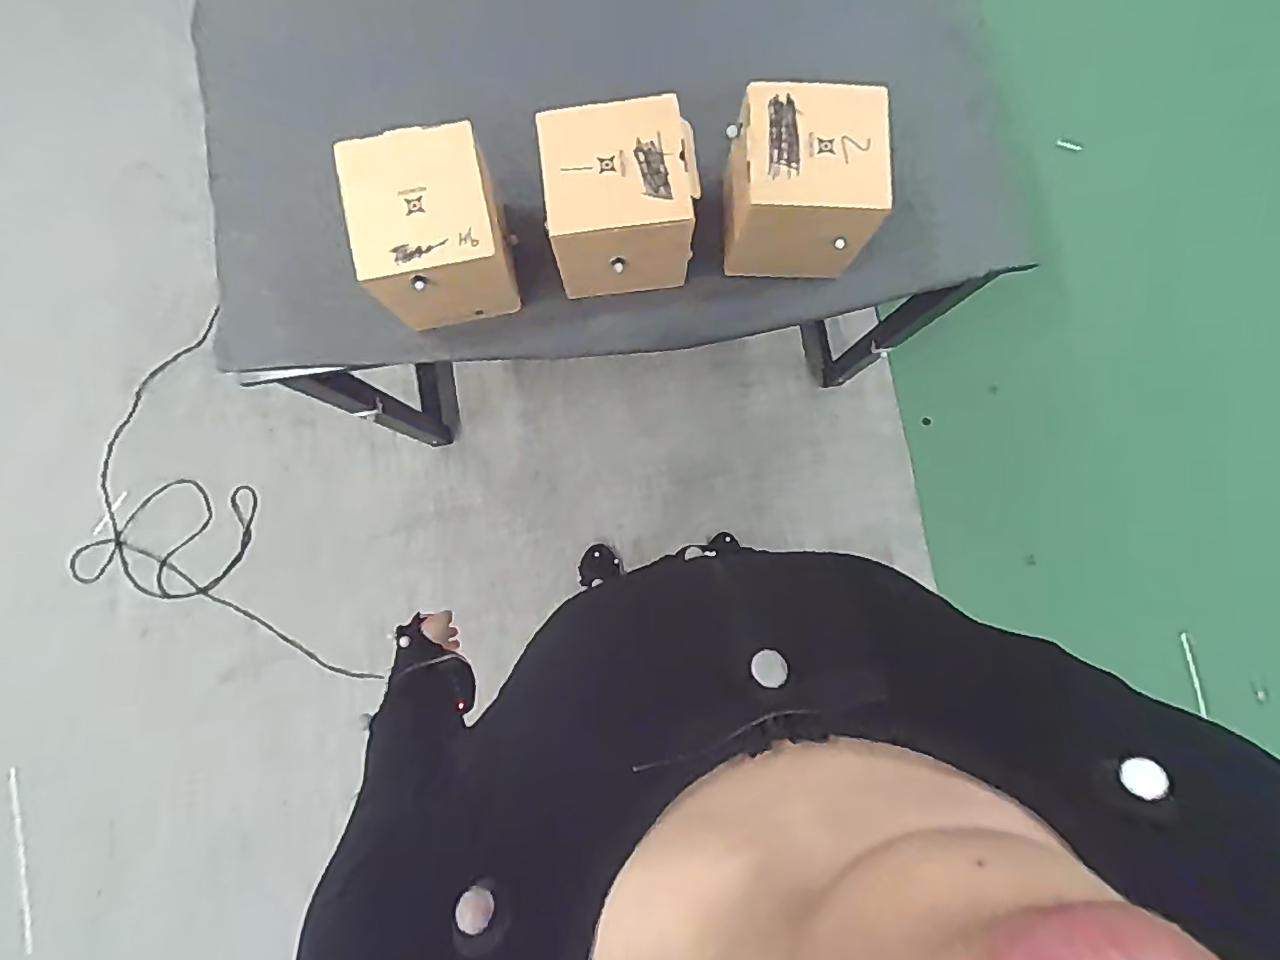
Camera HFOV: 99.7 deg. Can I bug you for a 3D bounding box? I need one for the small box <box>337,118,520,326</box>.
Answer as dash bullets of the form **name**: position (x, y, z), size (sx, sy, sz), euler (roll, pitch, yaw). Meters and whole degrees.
- **small box**: position (-0.267, -0.328, 0.717), size (0.168, 0.176, 0.179), euler (-11, 85, -1)
